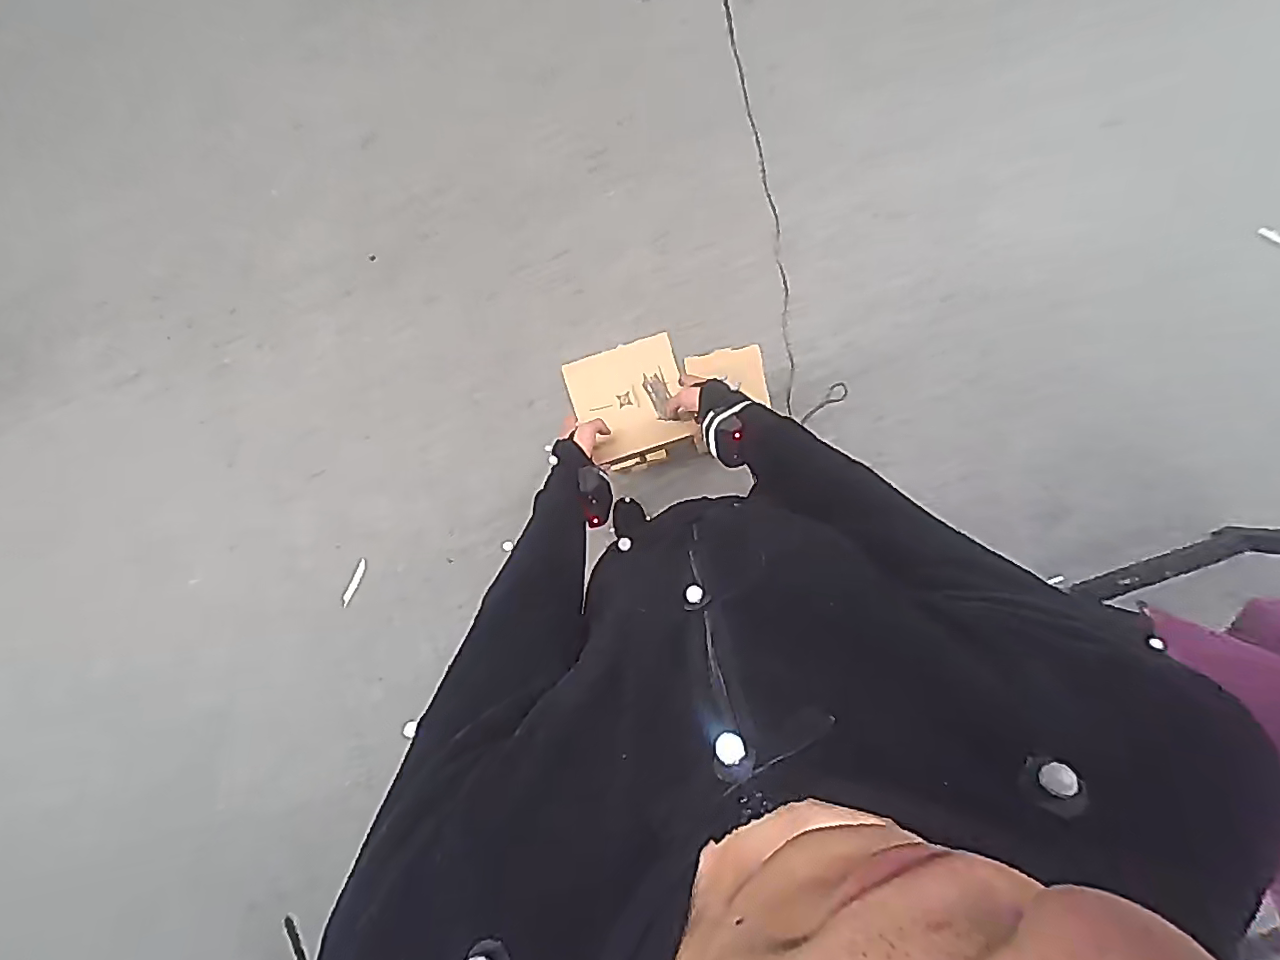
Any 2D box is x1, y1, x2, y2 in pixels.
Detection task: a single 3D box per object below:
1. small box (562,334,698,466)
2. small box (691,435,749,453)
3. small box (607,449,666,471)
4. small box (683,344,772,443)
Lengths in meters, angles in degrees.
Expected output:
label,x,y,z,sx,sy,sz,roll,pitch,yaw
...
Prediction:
label,x,y,z,sx,sy,sz,roll,pitch,yaw
small box,-0.015,-0.125,0.911,0.179,0.176,0.168,-18,89,1
small box,0.215,-0.187,1.558,0.168,0.176,0.179,-19,88,4
small box,-0.024,-0.130,1.571,0.168,0.176,0.179,-14,88,4
small box,0.191,-0.190,1.233,0.168,0.176,0.179,-10,87,4
